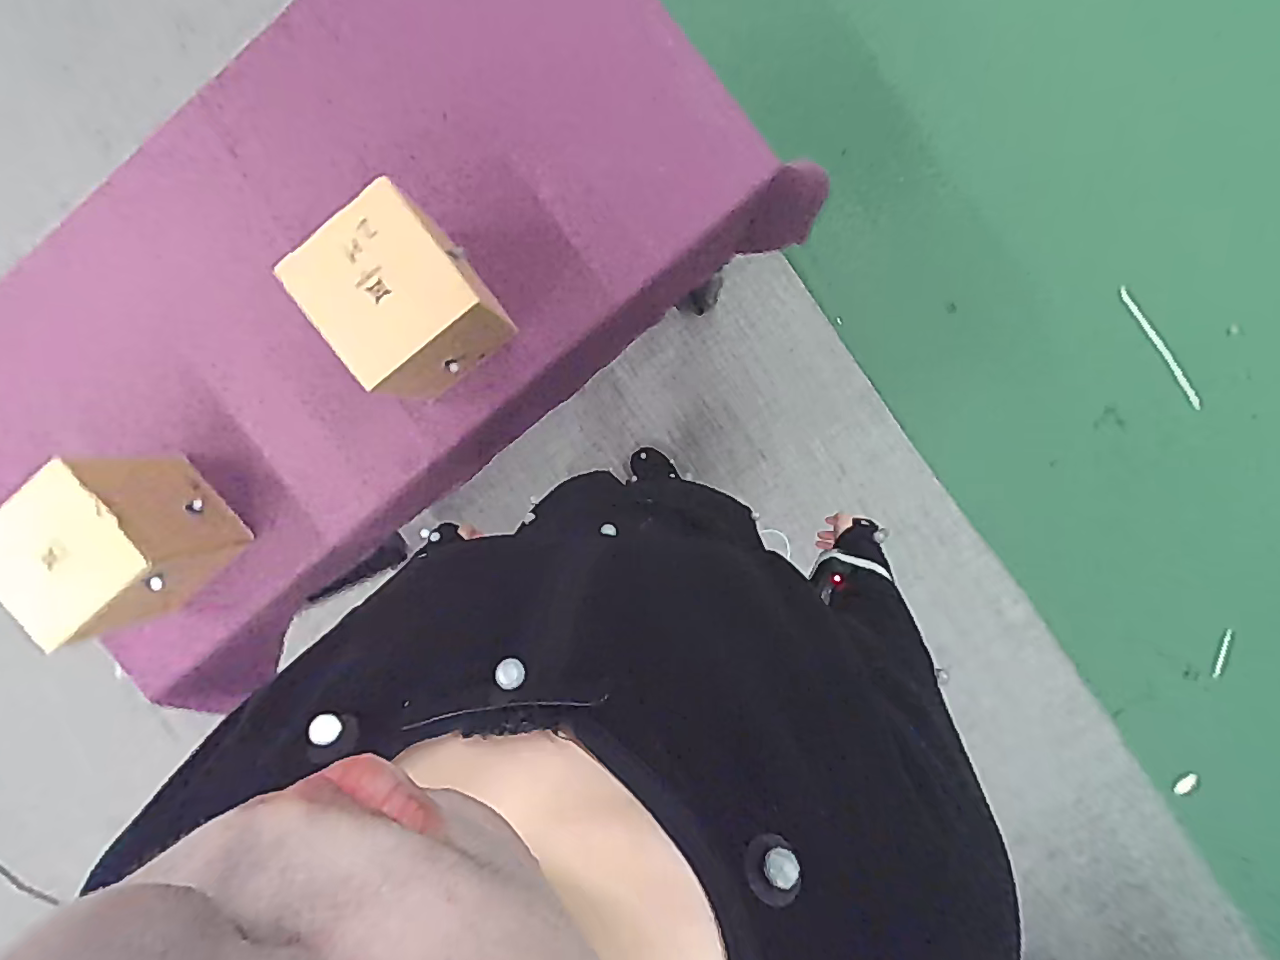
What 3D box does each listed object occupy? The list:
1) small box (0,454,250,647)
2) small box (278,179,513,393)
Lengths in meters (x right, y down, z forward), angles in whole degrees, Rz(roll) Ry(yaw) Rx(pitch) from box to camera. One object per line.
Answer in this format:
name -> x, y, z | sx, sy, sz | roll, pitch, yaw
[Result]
small box -> -0.685, 0.083, 0.722 | 0.179, 0.176, 0.168 | -41, 90, 3
small box -> -0.288, -0.223, 0.681 | 0.168, 0.176, 0.179 | -37, 91, 4
